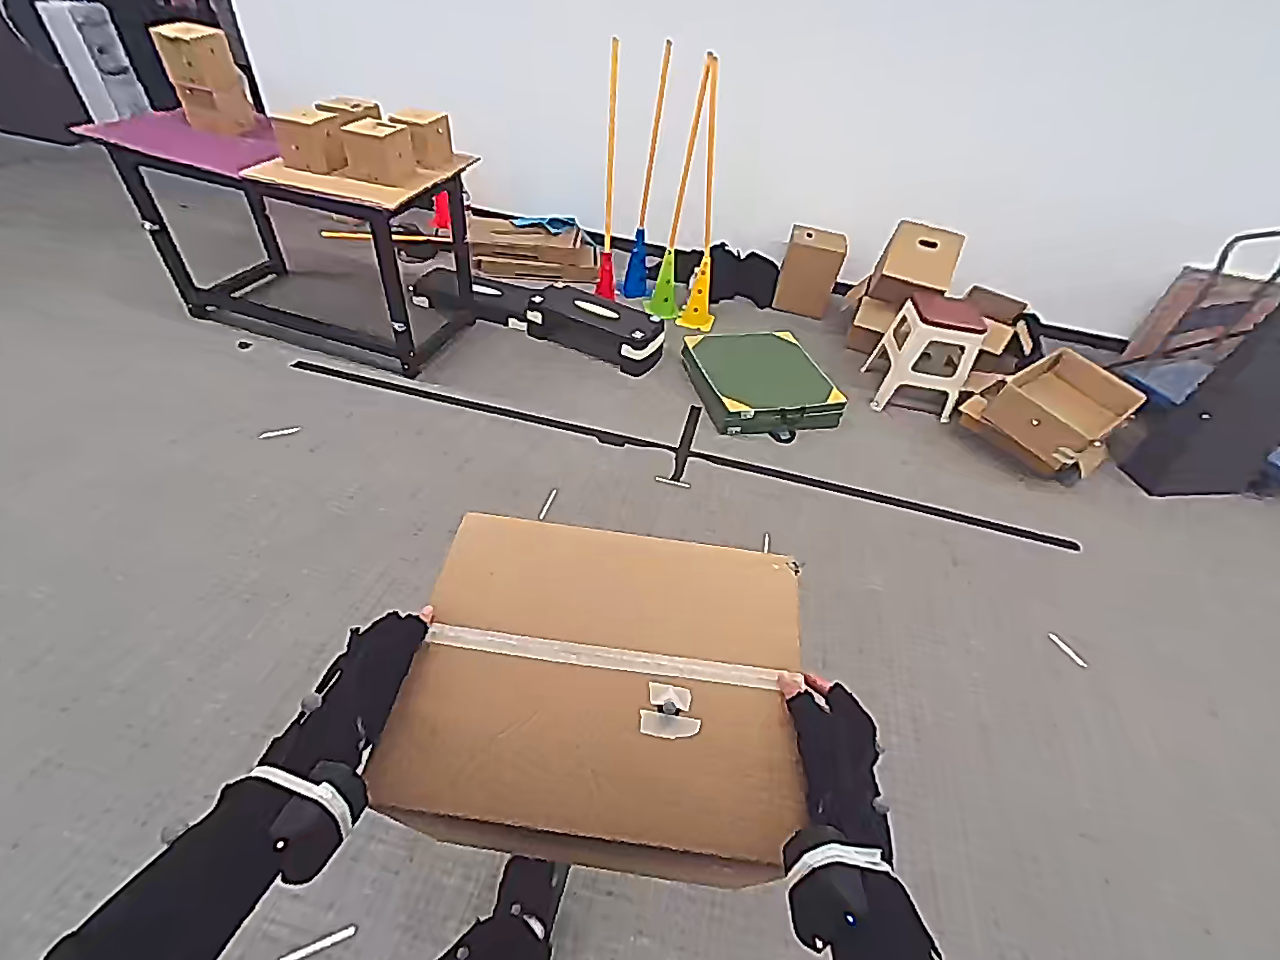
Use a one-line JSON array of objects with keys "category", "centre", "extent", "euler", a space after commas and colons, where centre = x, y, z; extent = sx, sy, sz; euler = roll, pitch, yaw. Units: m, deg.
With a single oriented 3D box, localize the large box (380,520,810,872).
[{"category": "large box", "centre": [-0.039, 0.283, 0.696], "extent": [0.408, 0.320, 0.320], "euler": [8, 51, 1]}]
